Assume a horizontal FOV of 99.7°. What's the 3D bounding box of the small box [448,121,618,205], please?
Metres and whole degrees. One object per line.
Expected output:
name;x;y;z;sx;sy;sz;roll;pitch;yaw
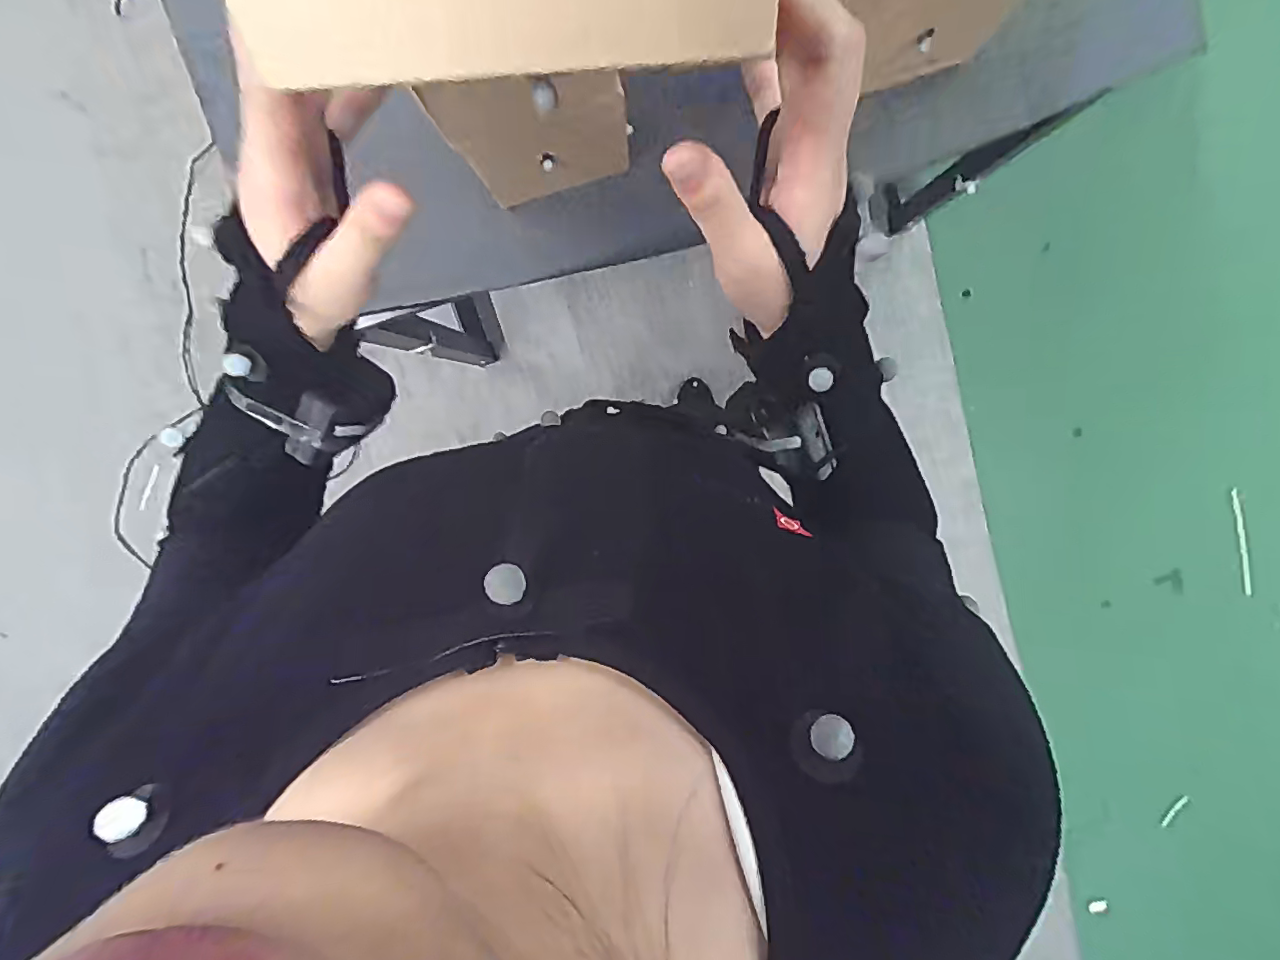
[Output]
small box;-0.126;-0.438;0.602;0.179;0.176;0.168;-16;97;4

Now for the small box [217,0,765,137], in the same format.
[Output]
small box;-0.043;-0.234;0.186;0.168;0.176;0.179;-1;128;3

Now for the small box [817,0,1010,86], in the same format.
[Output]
small box;0.300;-0.567;0.578;0.168;0.176;0.179;-17;96;3
